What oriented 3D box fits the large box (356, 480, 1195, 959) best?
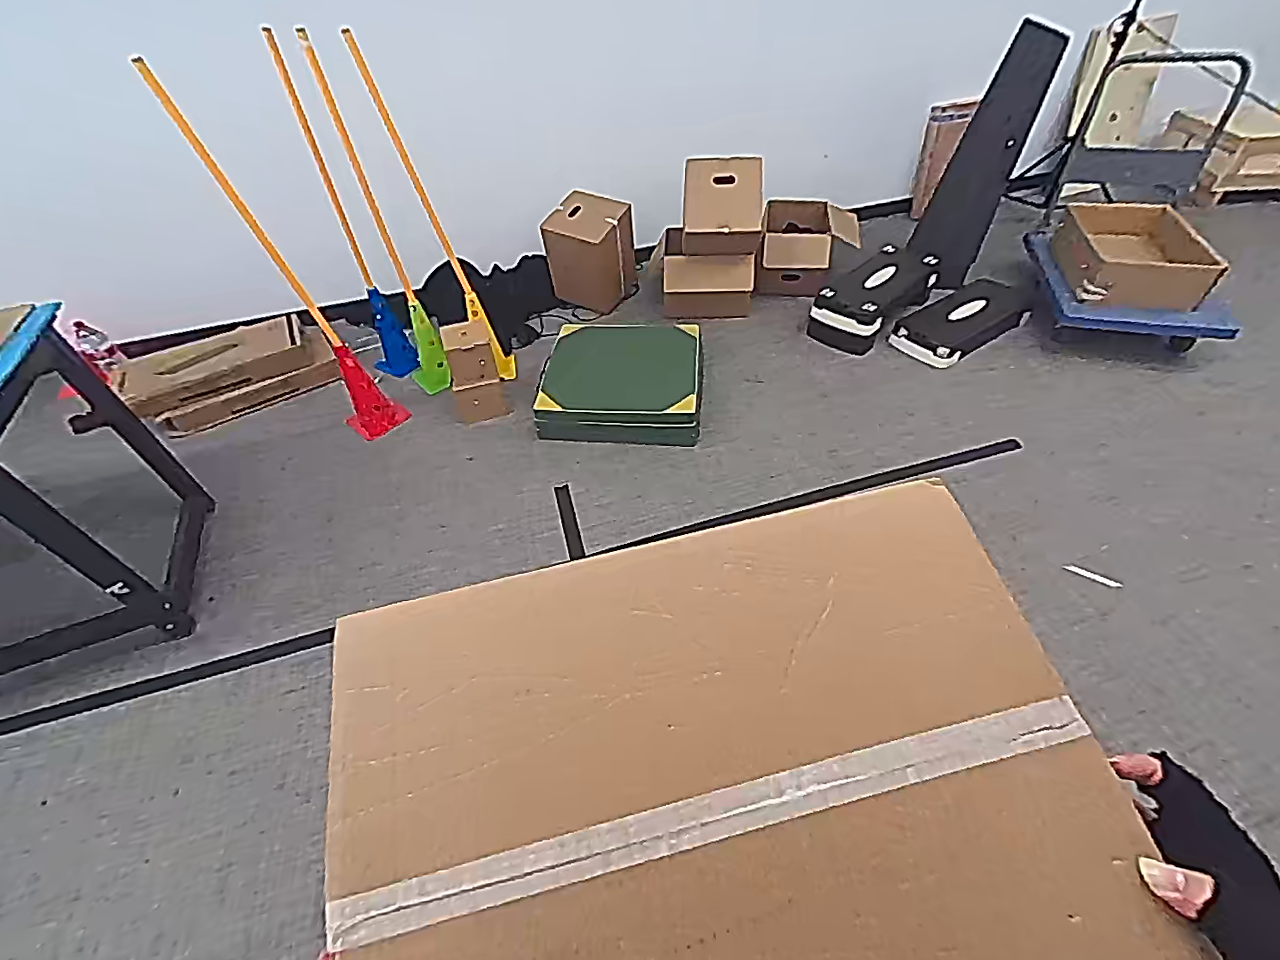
[{"bbox_3d":[0.049,0.246,0.429,0.408,0.320,0.320,-13,62,-4],"label":"large box"}]
